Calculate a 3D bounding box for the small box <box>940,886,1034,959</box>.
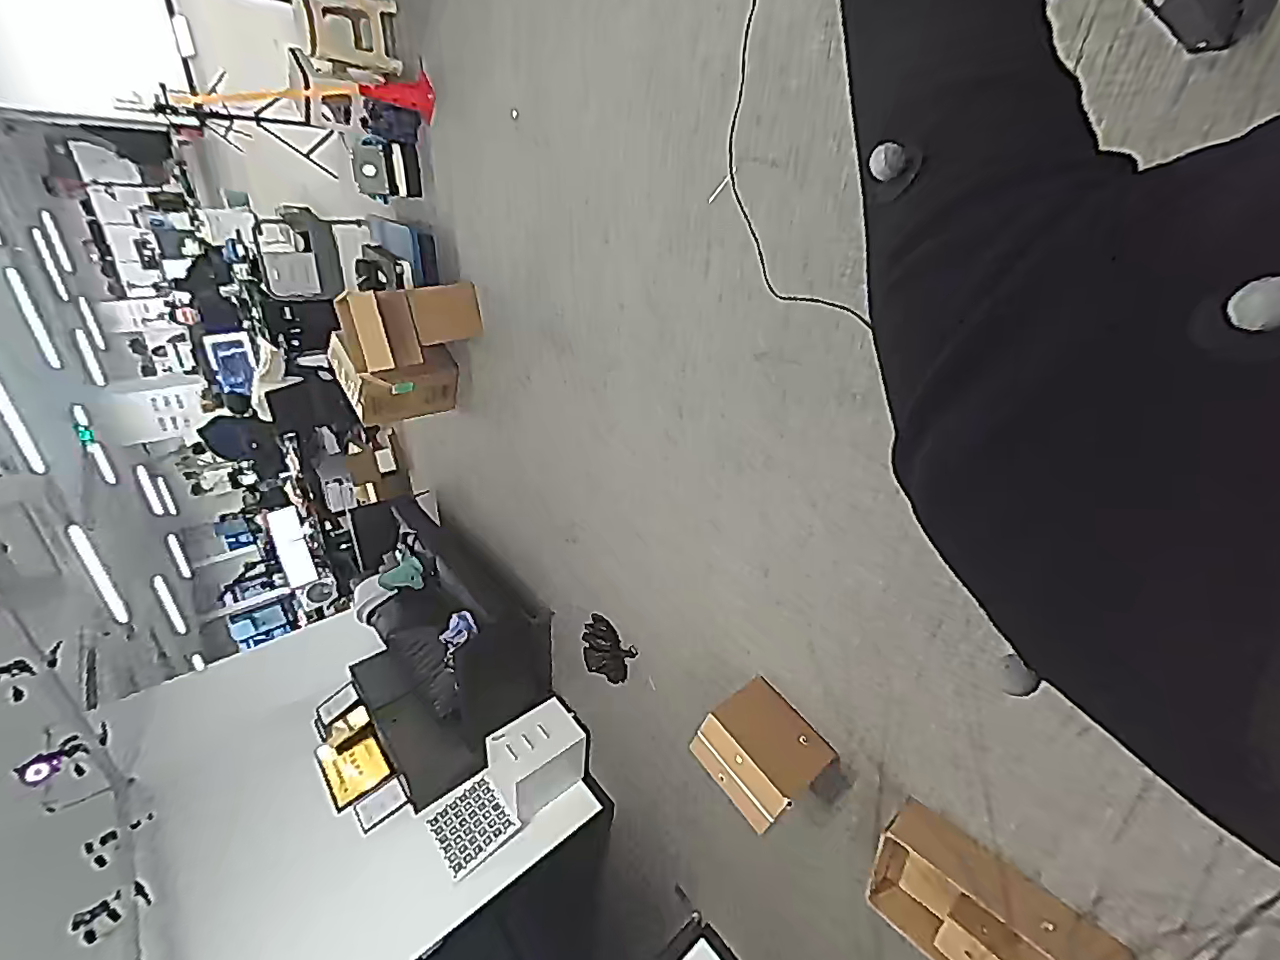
[{"bbox_3d":[1.047,1.391,1.631,0.179,0.176,0.168,27,126,45],"label":"small box"}]
